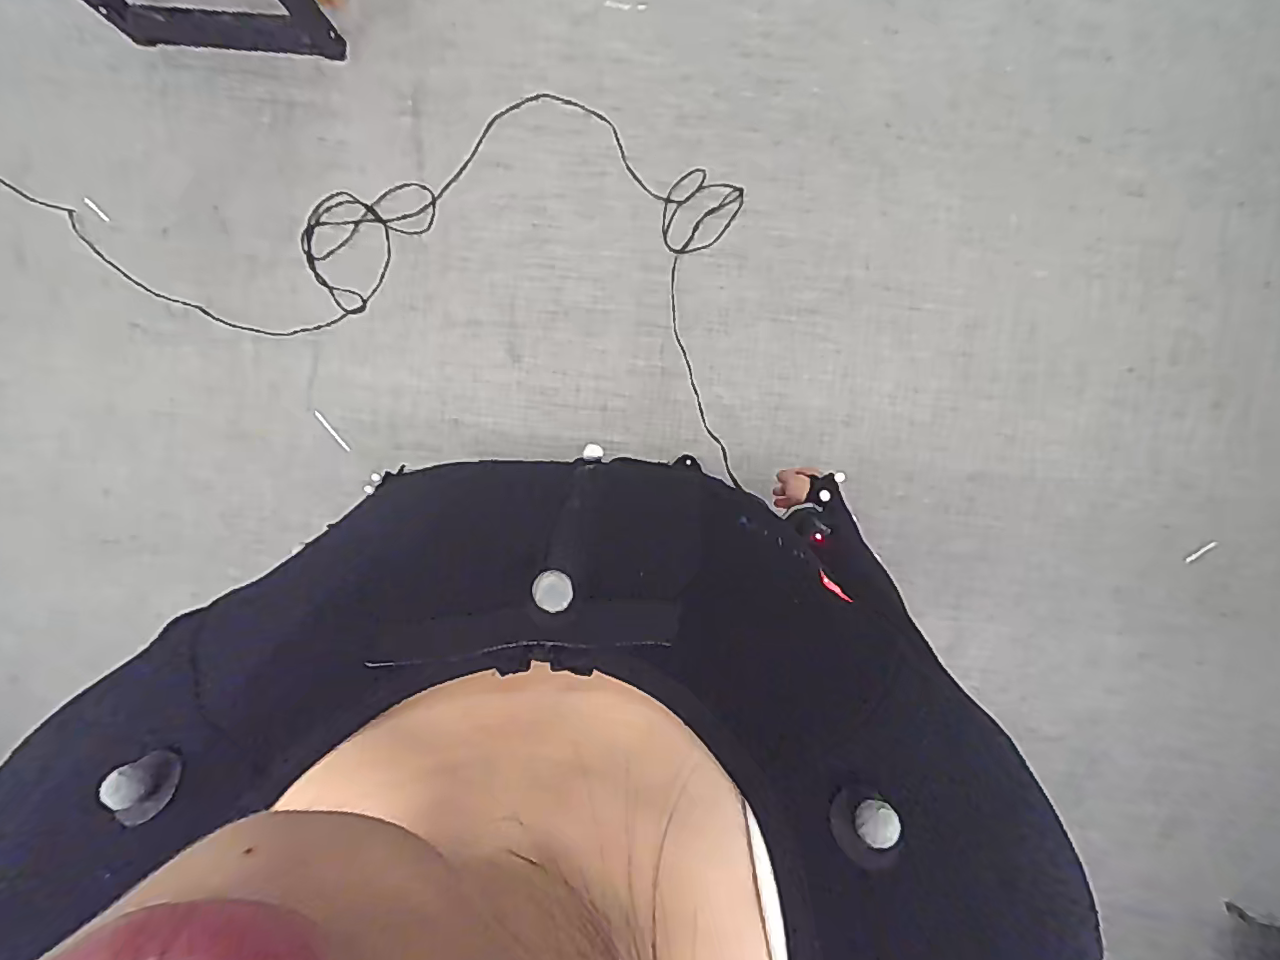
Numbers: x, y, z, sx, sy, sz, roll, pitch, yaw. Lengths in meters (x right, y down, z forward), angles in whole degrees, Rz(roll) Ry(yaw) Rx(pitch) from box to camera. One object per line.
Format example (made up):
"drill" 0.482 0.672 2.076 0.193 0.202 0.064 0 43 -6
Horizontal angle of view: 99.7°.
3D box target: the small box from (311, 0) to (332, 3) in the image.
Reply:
"small box" -0.875 -1.360 1.363 0.179 0.176 0.168 10 93 1
